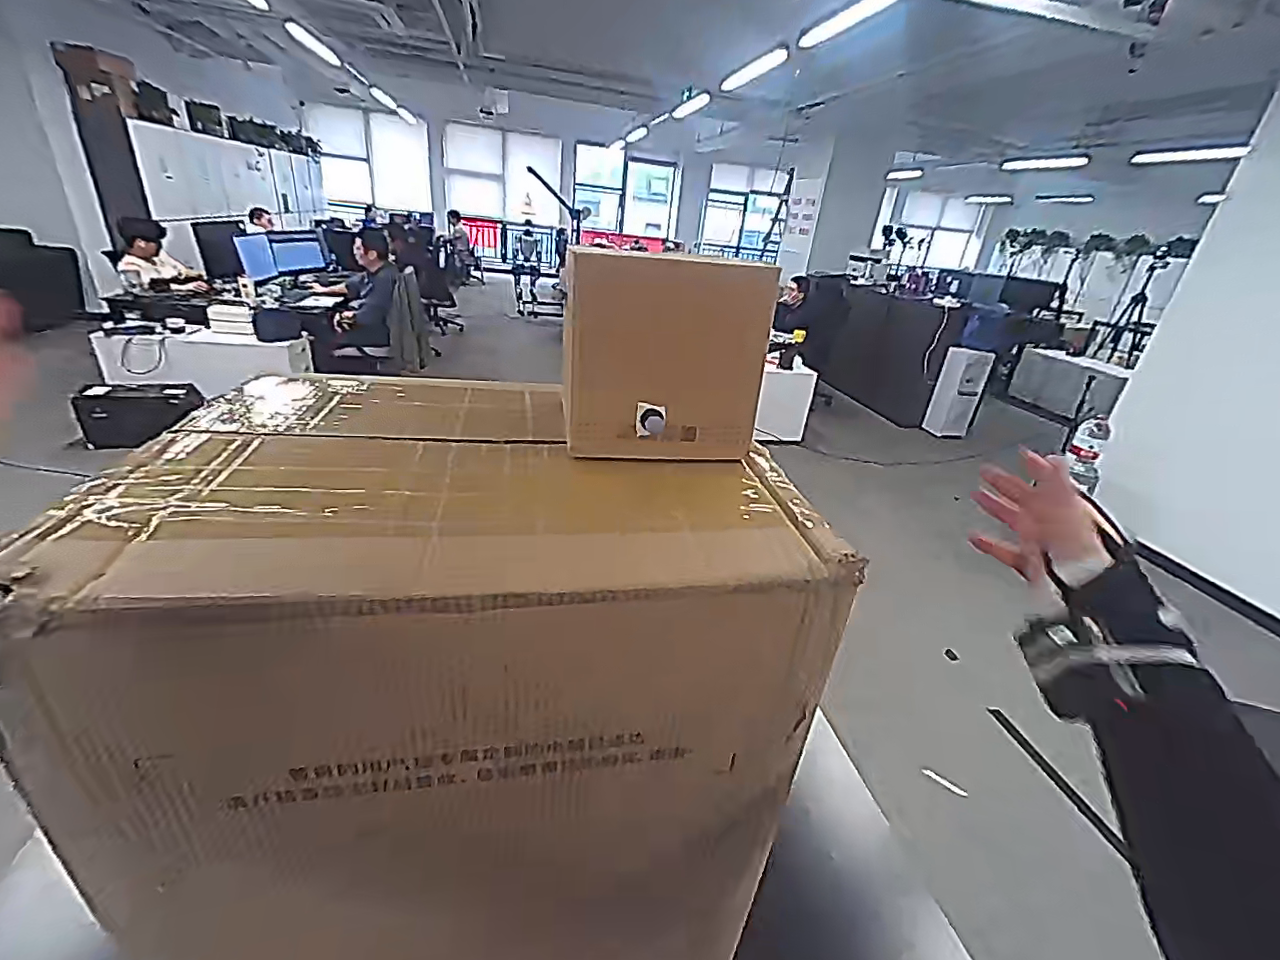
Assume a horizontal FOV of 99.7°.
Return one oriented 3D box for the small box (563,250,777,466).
[{"bbox_3d":[0.011,-0.122,0.519,0.168,0.176,0.179,-2,26,-10],"label":"small box"}]
